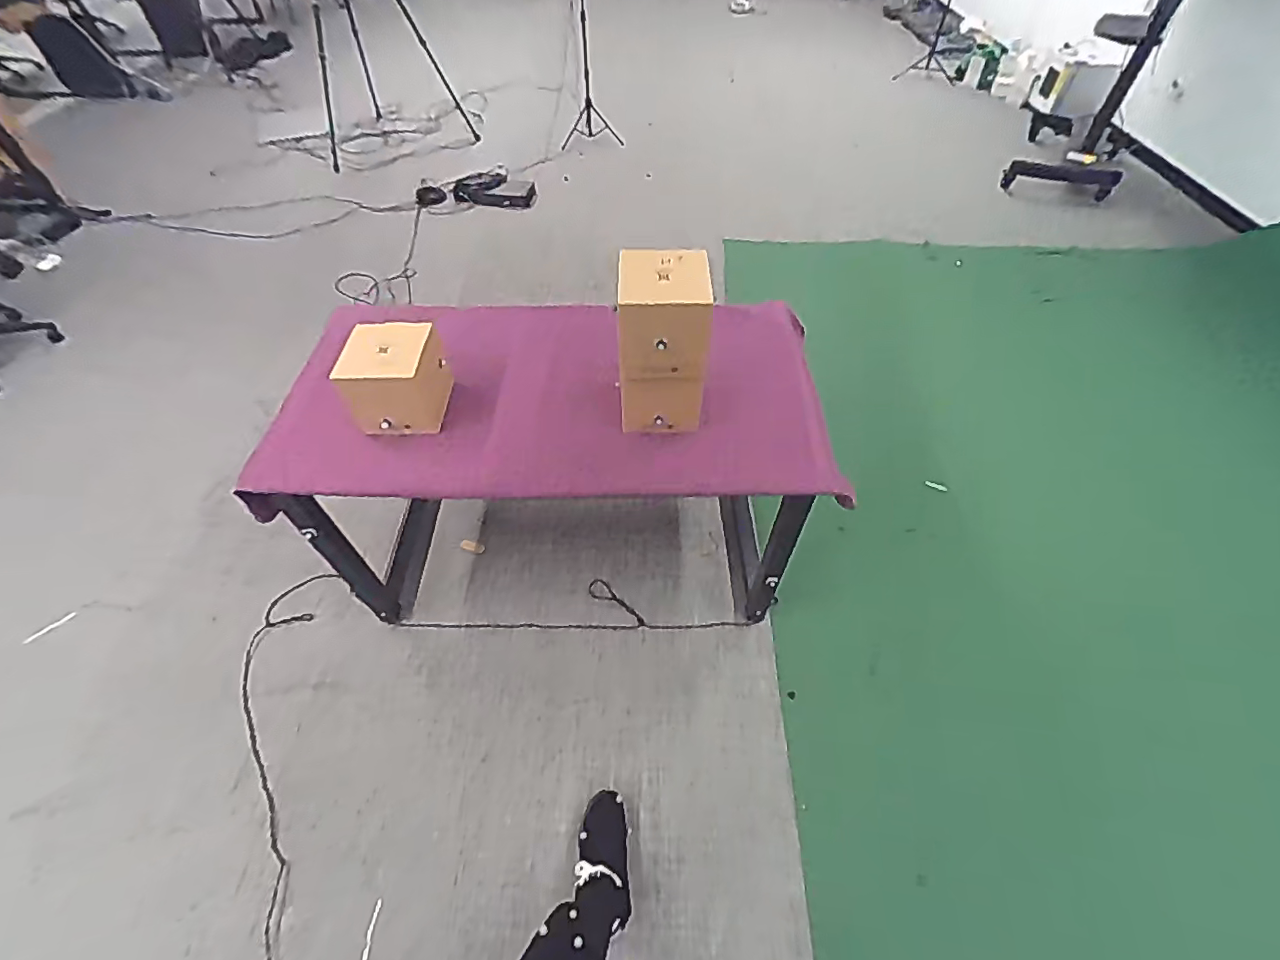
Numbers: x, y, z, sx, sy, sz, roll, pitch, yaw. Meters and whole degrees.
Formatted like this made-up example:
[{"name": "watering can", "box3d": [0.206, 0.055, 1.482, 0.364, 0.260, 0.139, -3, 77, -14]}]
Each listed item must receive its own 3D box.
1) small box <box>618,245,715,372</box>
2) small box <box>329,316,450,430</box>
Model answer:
[{"name": "small box", "box3d": [0.047, -0.318, 1.014, 0.168, 0.176, 0.179, 1, 52, 0]}, {"name": "small box", "box3d": [-0.515, -0.226, 1.145, 0.168, 0.176, 0.179, 0, 52, 0]}]
